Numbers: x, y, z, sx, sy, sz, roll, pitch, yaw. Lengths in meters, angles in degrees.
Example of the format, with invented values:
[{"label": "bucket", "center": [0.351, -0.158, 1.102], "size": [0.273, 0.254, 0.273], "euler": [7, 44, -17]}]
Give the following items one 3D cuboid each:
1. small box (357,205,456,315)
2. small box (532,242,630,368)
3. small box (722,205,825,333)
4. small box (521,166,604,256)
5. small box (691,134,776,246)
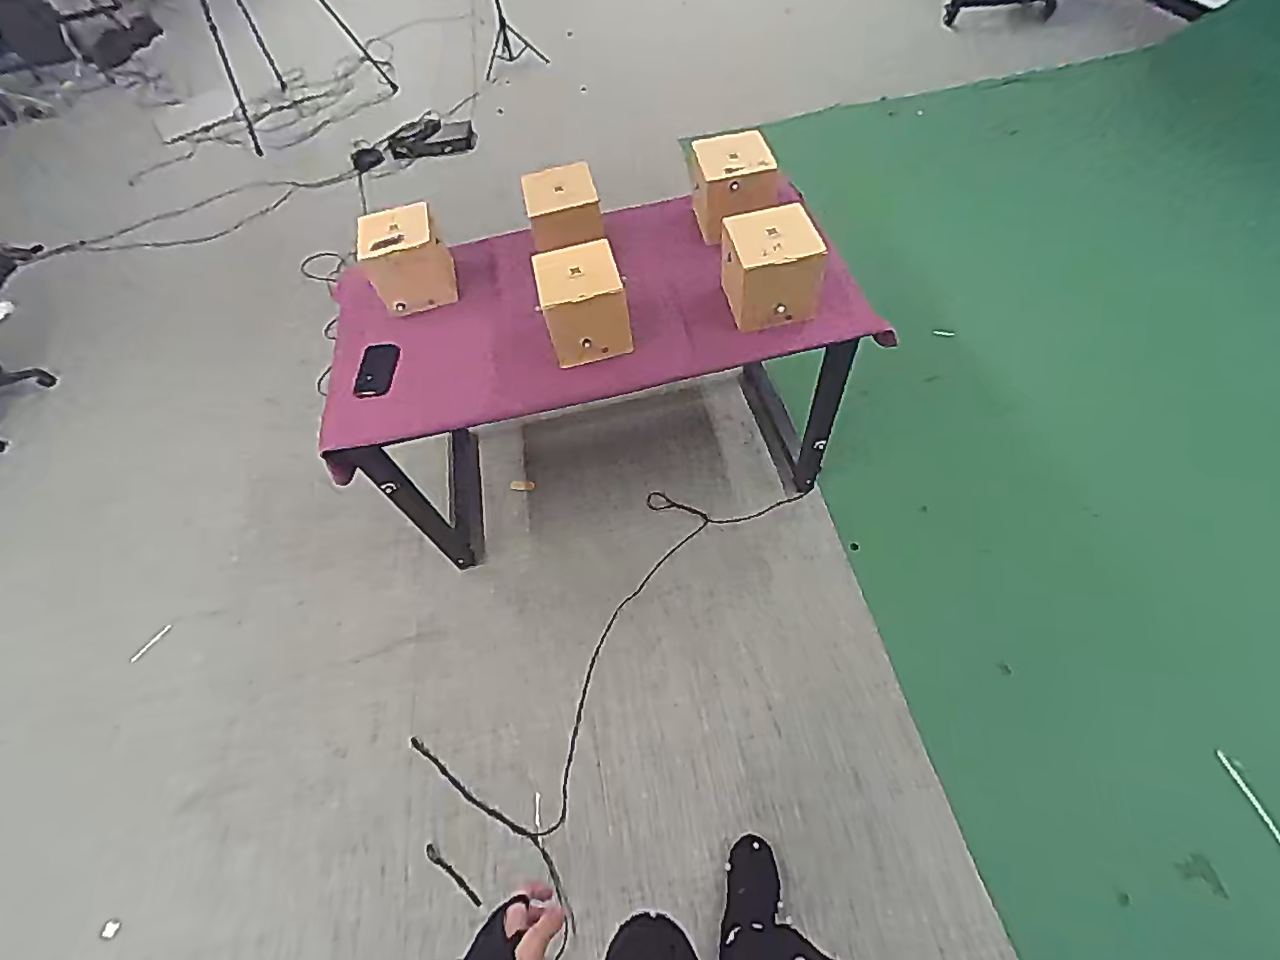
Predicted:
[{"label": "small box", "center": [-0.556, -0.520, 1.303], "size": [0.168, 0.176, 0.179], "euler": [-16, 57, -3]}, {"label": "small box", "center": [-0.123, -0.369, 1.153], "size": [0.168, 0.176, 0.179], "euler": [-14, 57, -2]}, {"label": "small box", "center": [0.271, -0.442, 1.144], "size": [0.168, 0.176, 0.179], "euler": [-11, 57, 2]}, {"label": "small box", "center": [-0.184, -0.629, 1.326], "size": [0.168, 0.176, 0.179], "euler": [-14, 58, 0]}, {"label": "small box", "center": [0.221, -0.703, 1.319], "size": [0.168, 0.176, 0.179], "euler": [-11, 57, 1]}]
